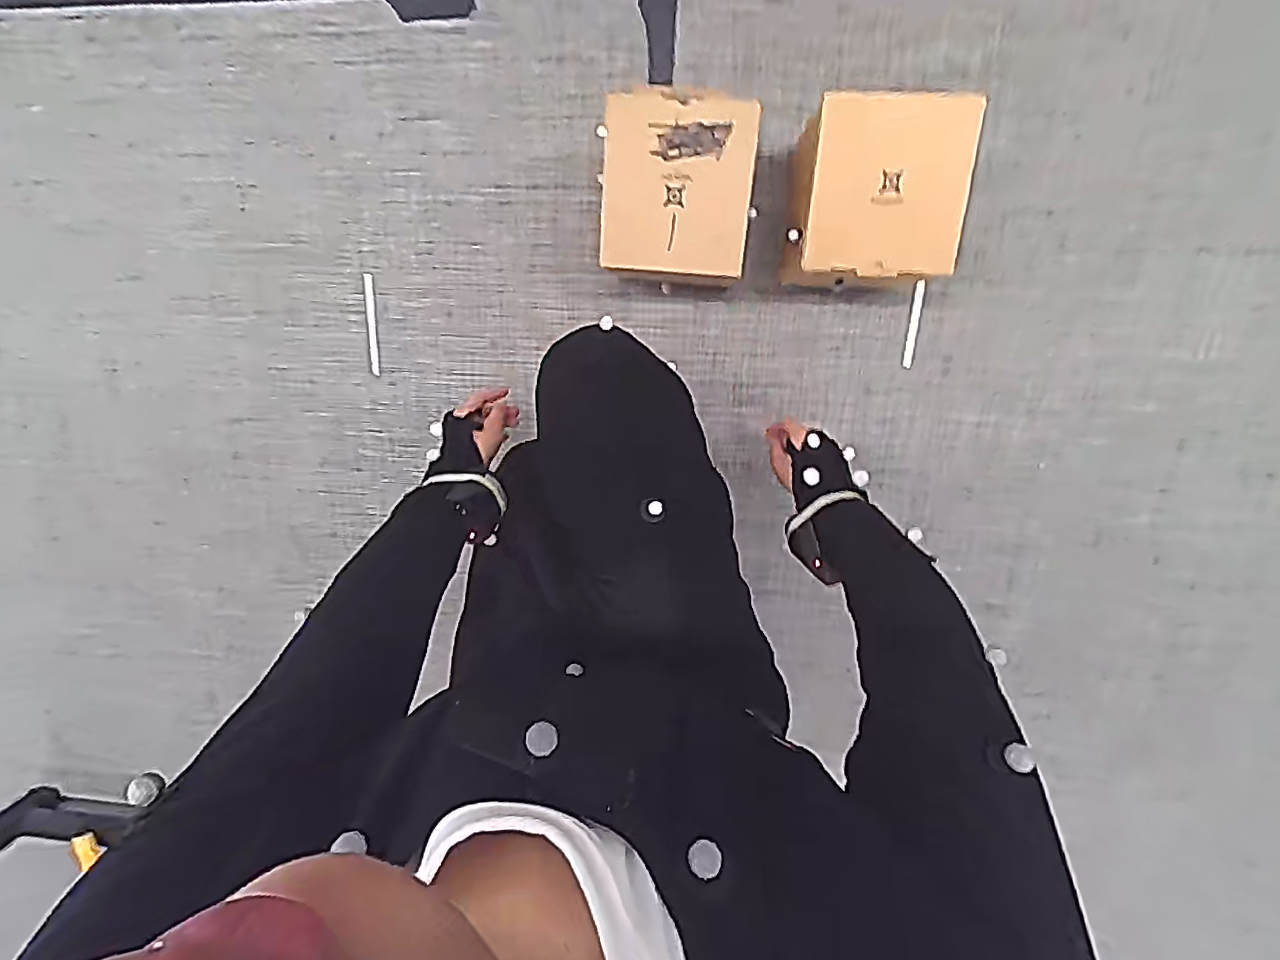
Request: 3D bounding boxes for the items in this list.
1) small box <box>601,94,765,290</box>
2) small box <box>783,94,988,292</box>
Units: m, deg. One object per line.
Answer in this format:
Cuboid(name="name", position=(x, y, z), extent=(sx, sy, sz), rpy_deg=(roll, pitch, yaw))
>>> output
Cuboid(name="small box", position=(0.049, -0.338, 0.667), extent=(0.168, 0.176, 0.179), rpy_deg=(6, 106, 3))
Cuboid(name="small box", position=(0.276, -0.330, 0.652), extent=(0.168, 0.176, 0.179), rpy_deg=(4, 106, 4))
